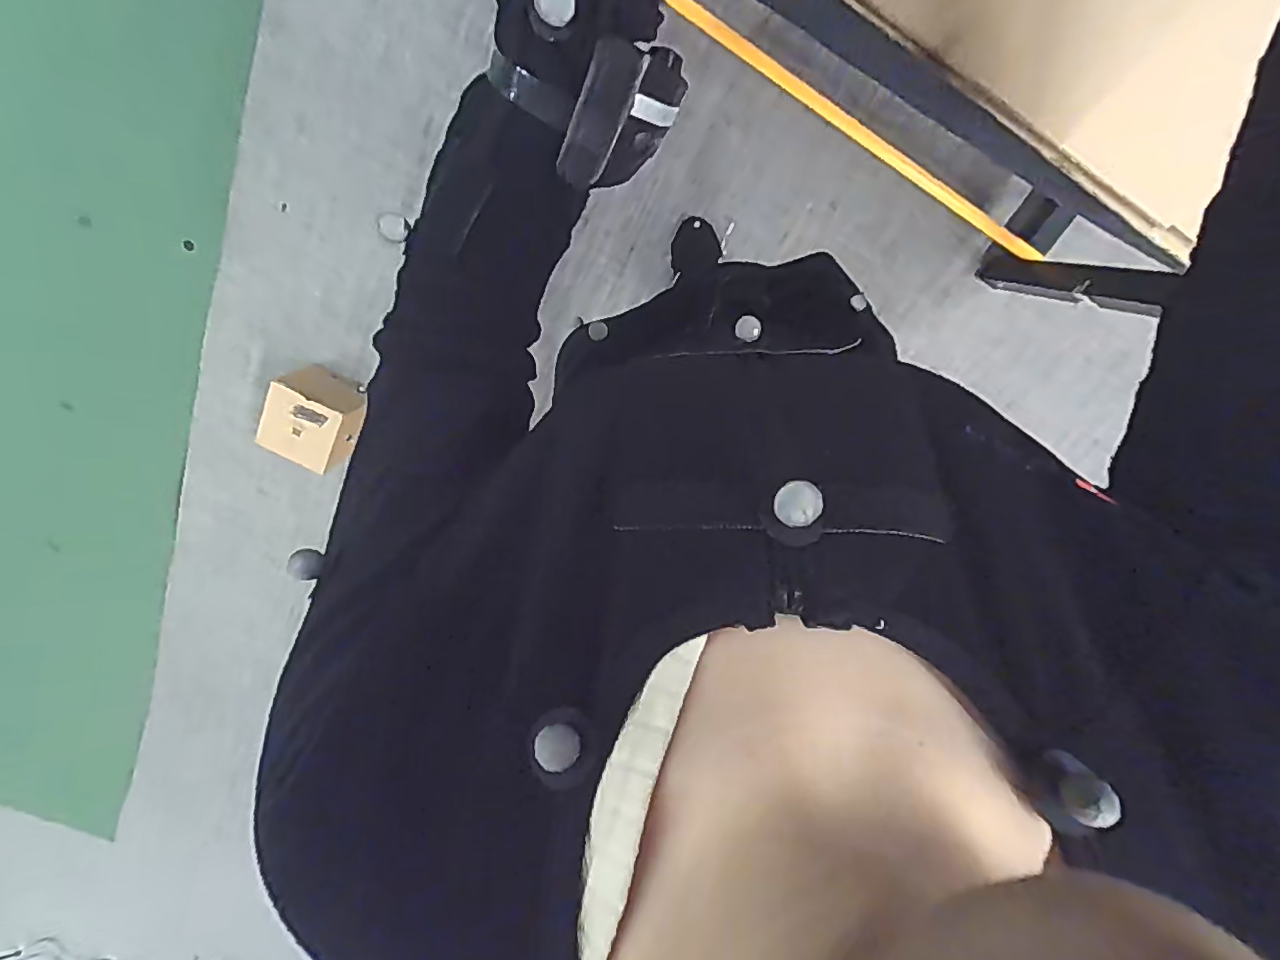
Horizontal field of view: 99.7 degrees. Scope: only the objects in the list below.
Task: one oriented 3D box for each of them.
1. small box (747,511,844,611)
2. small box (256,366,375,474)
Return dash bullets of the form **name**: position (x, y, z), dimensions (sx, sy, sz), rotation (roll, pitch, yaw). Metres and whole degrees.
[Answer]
- **small box**: position (0.401, 0.208, 1.434), dimensions (0.168, 0.176, 0.179), rotation (22, 113, -8)
- **small box**: position (-0.770, -0.151, 1.300), dimensions (0.168, 0.176, 0.179), rotation (29, 114, -11)
